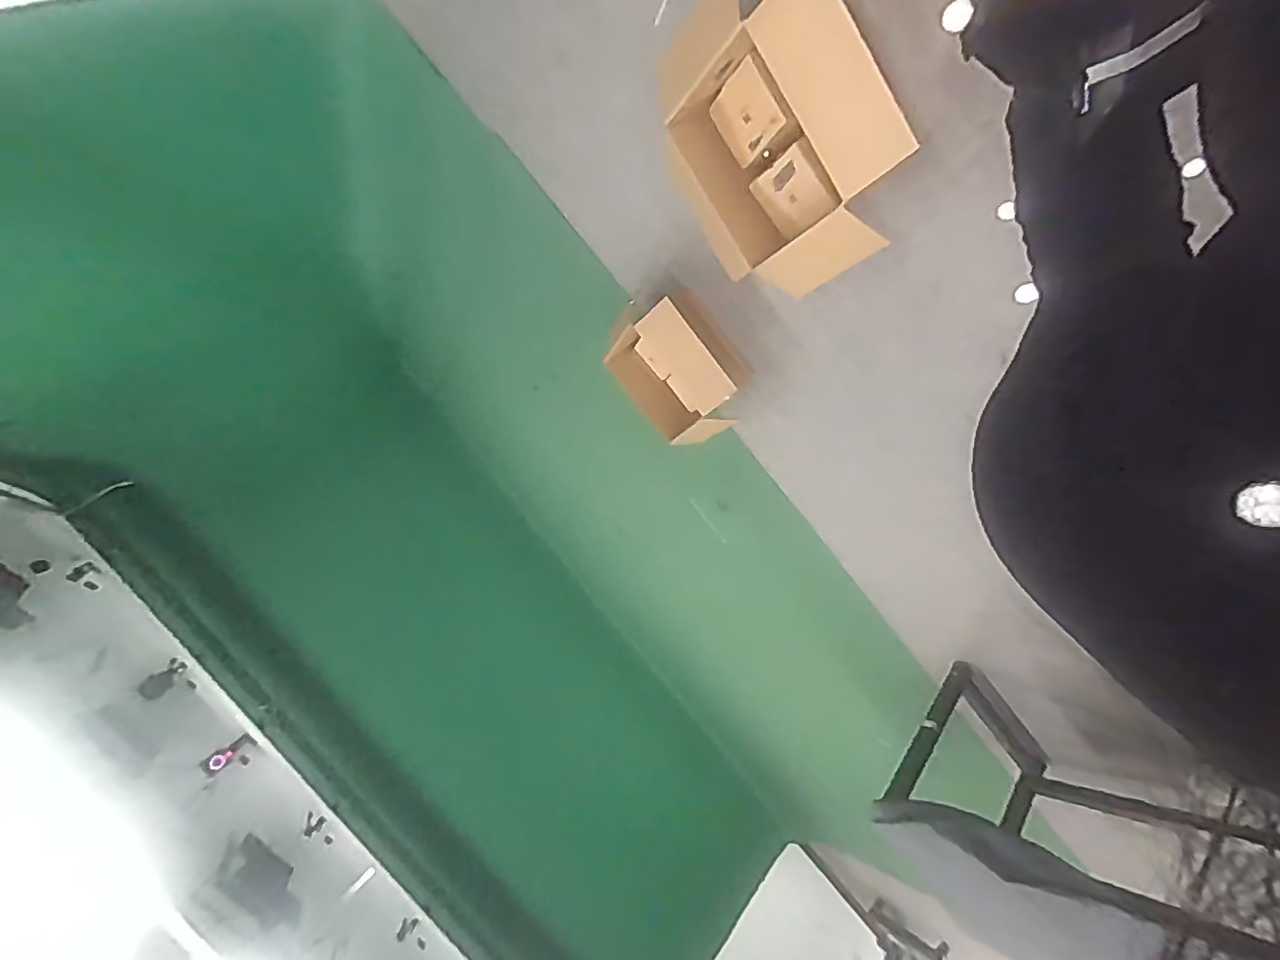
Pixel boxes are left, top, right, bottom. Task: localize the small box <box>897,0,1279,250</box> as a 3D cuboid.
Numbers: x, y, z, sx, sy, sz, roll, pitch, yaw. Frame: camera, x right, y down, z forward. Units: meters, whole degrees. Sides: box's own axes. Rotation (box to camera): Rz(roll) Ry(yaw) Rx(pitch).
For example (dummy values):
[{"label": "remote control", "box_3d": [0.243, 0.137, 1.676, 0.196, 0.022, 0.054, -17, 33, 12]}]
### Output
[{"label": "small box", "box_3d": [0.295, -0.276, 0.339, 0.176, 0.168, 0.179, 43, 116, 43]}]
